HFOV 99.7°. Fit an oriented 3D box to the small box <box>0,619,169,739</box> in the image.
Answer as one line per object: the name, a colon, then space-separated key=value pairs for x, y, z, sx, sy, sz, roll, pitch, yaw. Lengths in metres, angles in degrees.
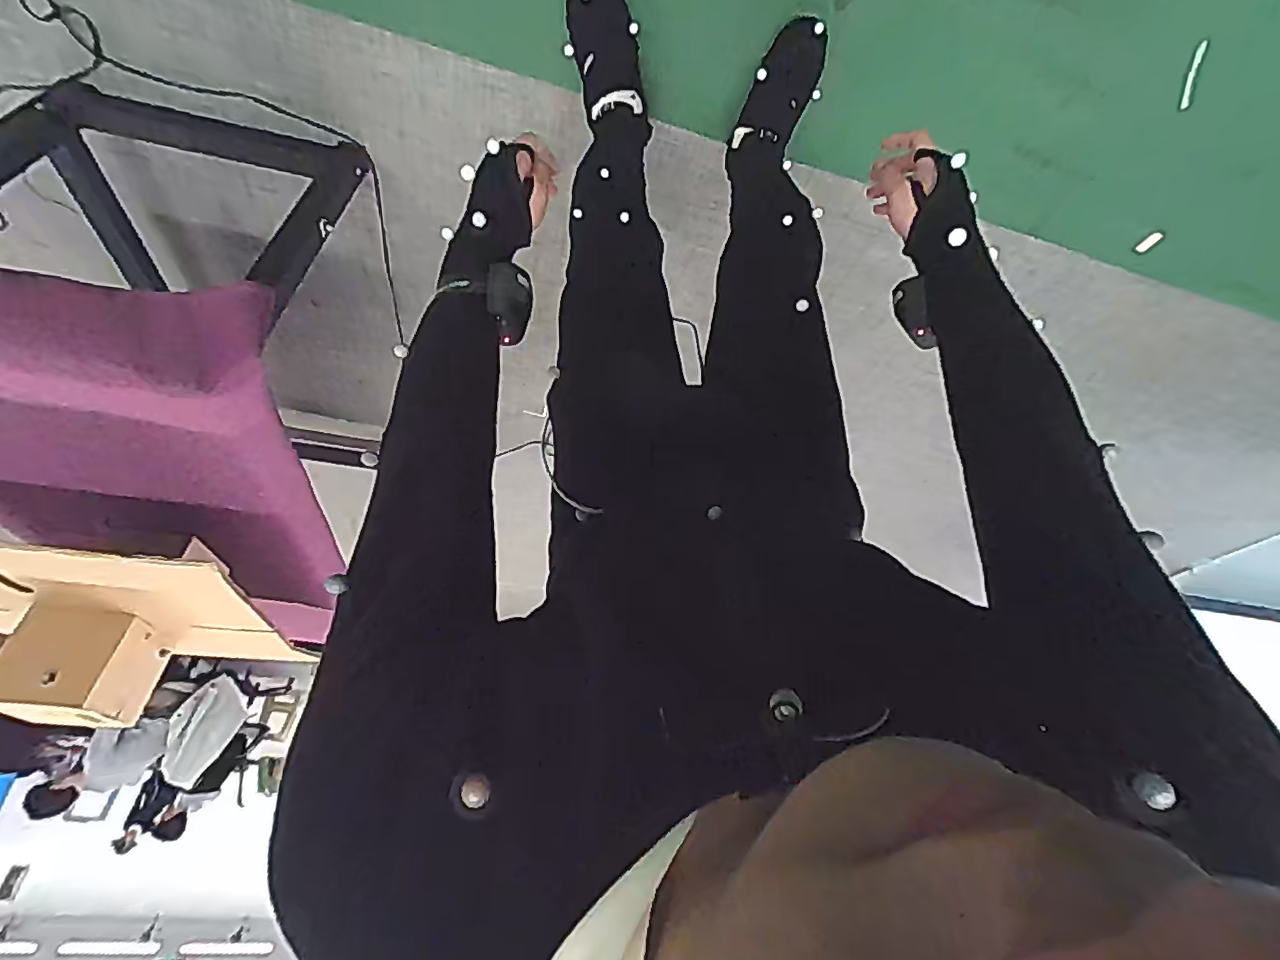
small box: x=-1.032 y=0.370 z=1.004 sx=0.179 sy=0.176 sz=0.168 roll=8 pitch=143 yaw=-8
